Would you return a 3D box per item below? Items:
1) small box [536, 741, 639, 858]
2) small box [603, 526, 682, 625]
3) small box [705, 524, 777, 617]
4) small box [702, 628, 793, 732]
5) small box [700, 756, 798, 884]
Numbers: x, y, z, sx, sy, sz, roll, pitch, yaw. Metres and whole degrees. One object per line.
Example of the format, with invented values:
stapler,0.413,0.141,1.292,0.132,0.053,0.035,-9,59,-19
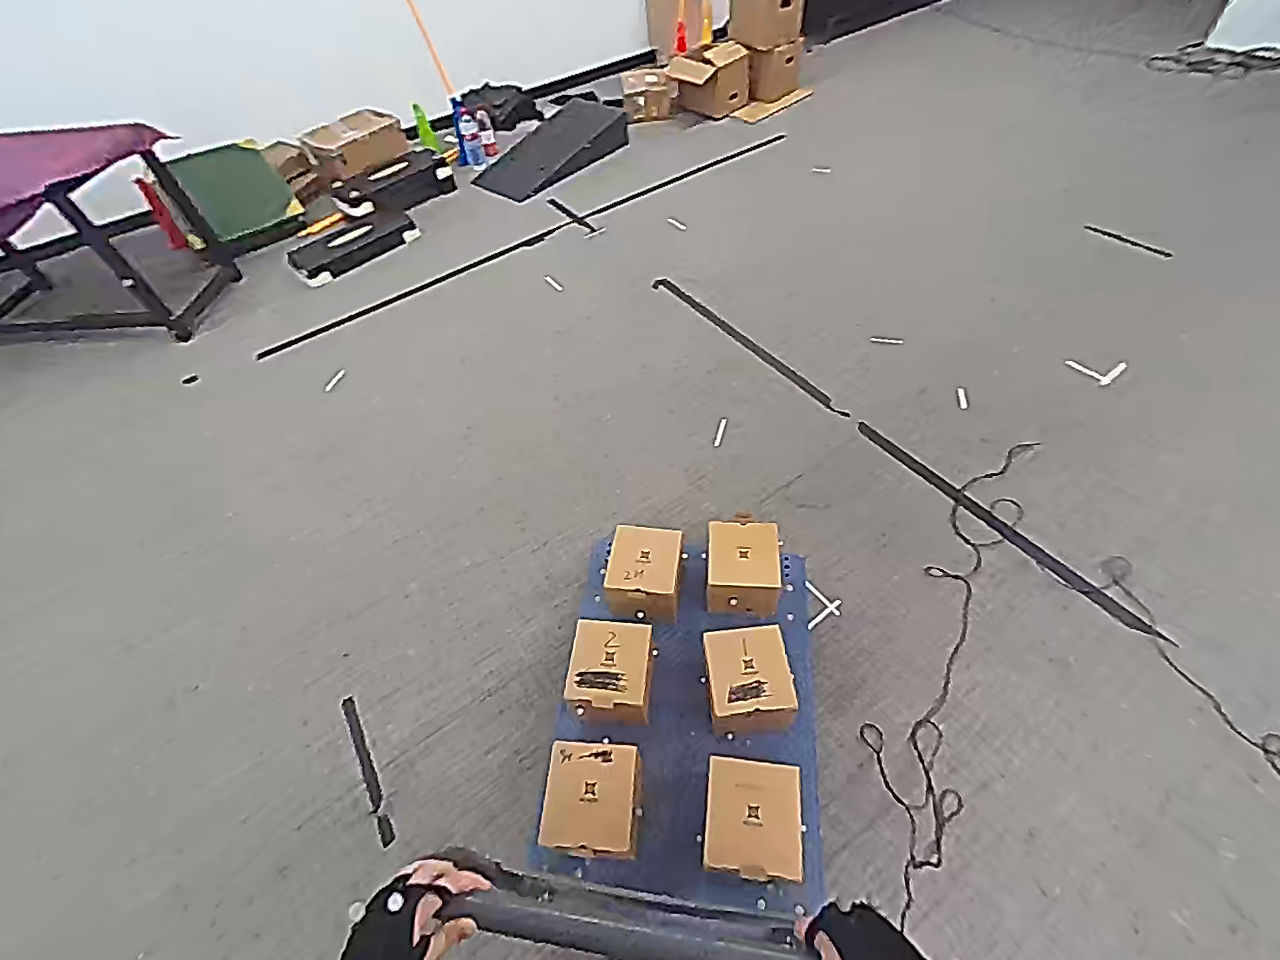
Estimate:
small box,-0.092,0.630,1.063,0.168,0.176,0.179,2,53,5
small box,0.013,0.240,1.356,0.168,0.176,0.179,5,54,9
small box,0.248,0.228,1.347,0.168,0.176,0.179,1,52,6
small box,0.227,0.442,1.180,0.168,0.176,0.179,-5,52,2
small box,0.203,0.647,1.025,0.168,0.176,0.179,5,52,8
